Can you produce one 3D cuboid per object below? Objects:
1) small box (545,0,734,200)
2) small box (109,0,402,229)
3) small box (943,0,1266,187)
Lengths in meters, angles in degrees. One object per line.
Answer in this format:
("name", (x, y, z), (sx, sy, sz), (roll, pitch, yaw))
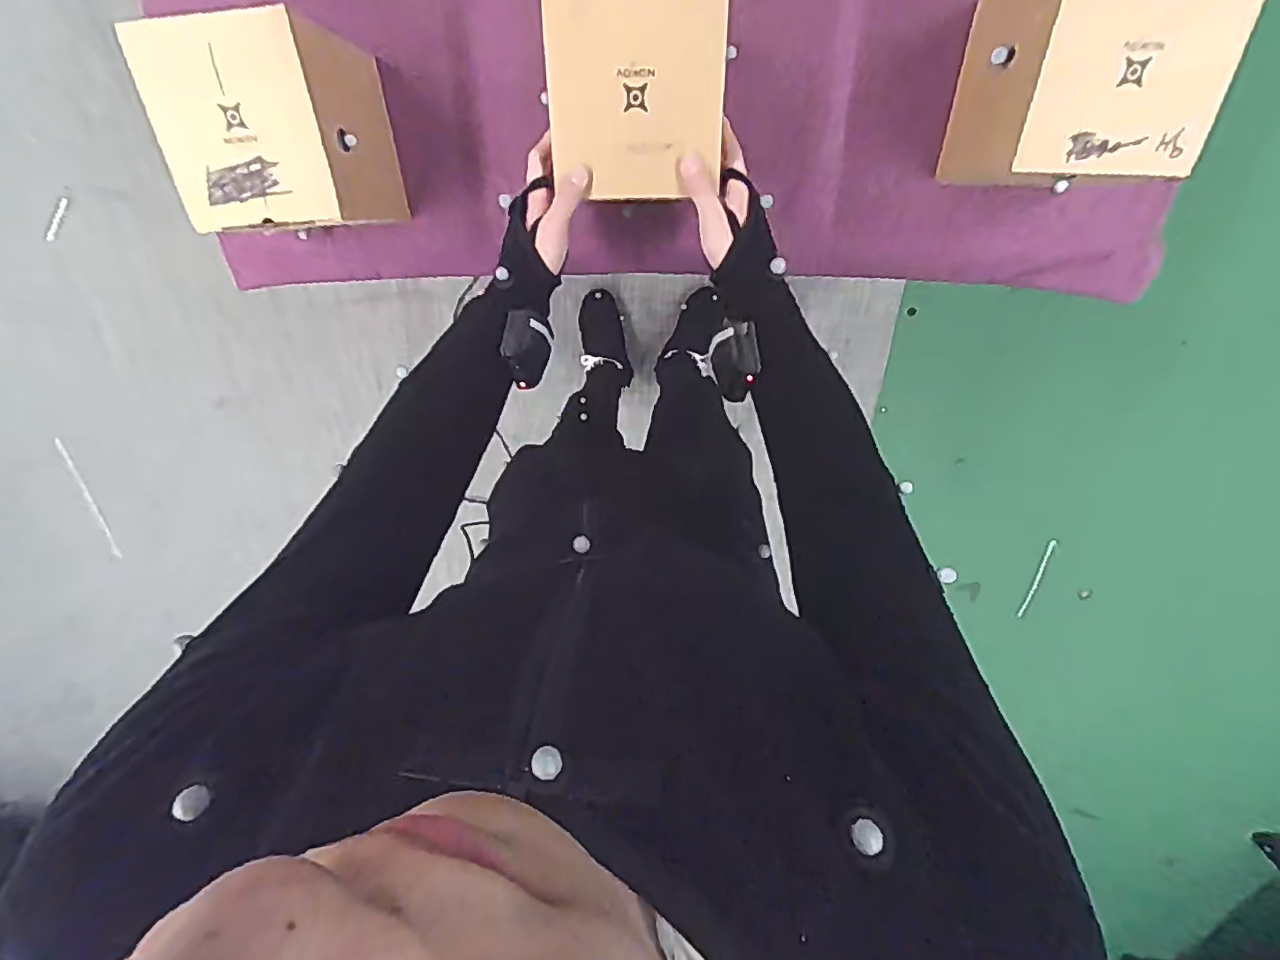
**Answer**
("small box", (0.001, -0.393, 0.564), (0.168, 0.176, 0.179), (1, 118, 3))
("small box", (-0.384, -0.376, 0.585), (0.168, 0.176, 0.179), (-2, 116, 3))
("small box", (0.436, -0.399, 0.538), (0.168, 0.176, 0.179), (3, 116, 2))
